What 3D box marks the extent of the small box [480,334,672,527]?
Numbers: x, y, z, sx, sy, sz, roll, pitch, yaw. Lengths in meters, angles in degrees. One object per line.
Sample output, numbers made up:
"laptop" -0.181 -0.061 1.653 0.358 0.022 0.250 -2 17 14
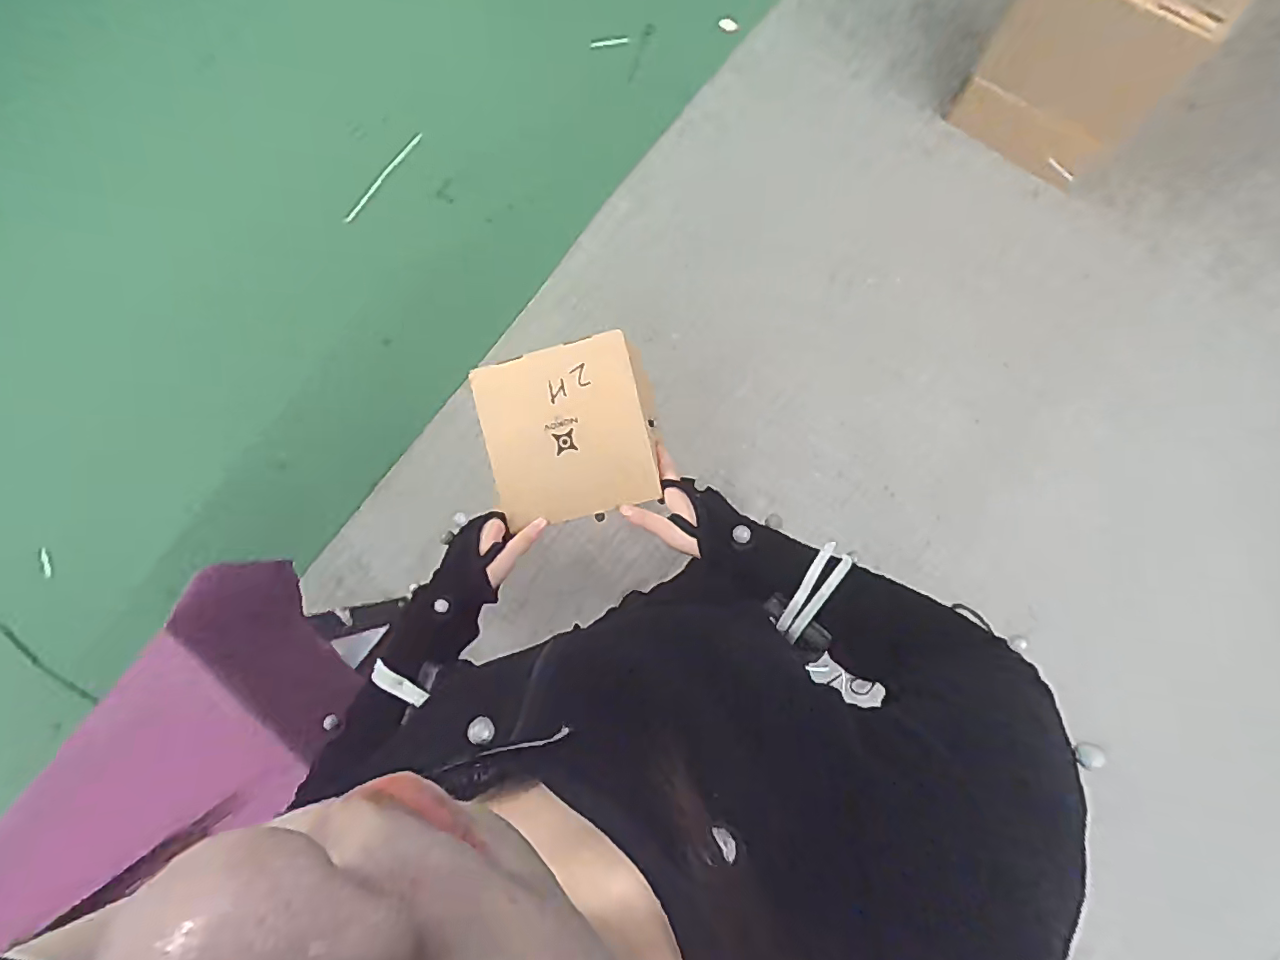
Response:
"small box" -0.061 -0.055 0.636 0.168 0.176 0.179 -12 92 8
